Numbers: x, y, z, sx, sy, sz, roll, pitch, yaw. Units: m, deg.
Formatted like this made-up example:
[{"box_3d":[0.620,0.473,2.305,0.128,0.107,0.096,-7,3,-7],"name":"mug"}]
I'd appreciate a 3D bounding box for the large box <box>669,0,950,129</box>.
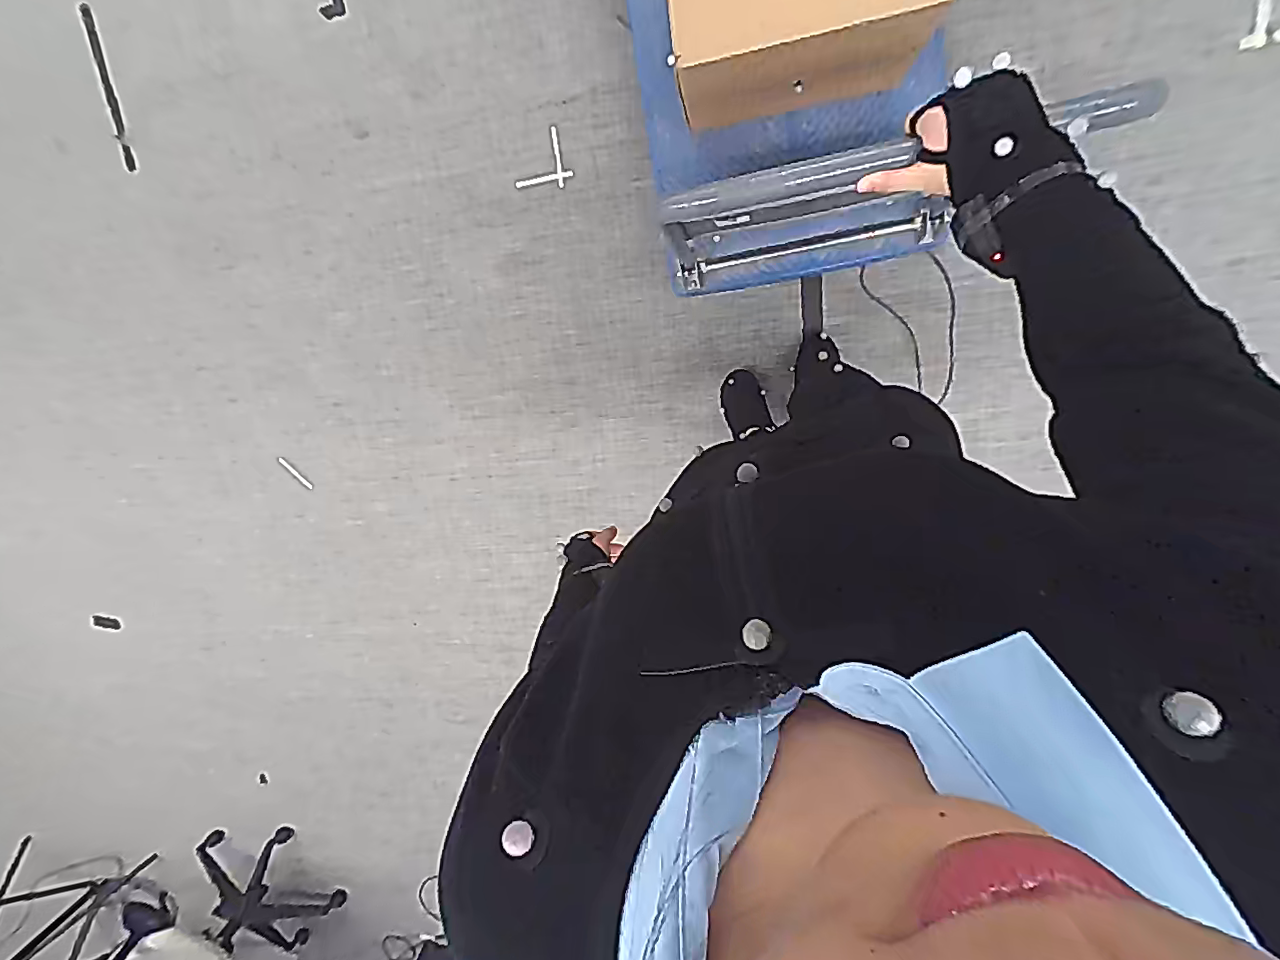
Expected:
[{"box_3d":[0.257,-0.845,0.896,0.408,0.320,0.320,-6,104,13],"name":"large box"}]
